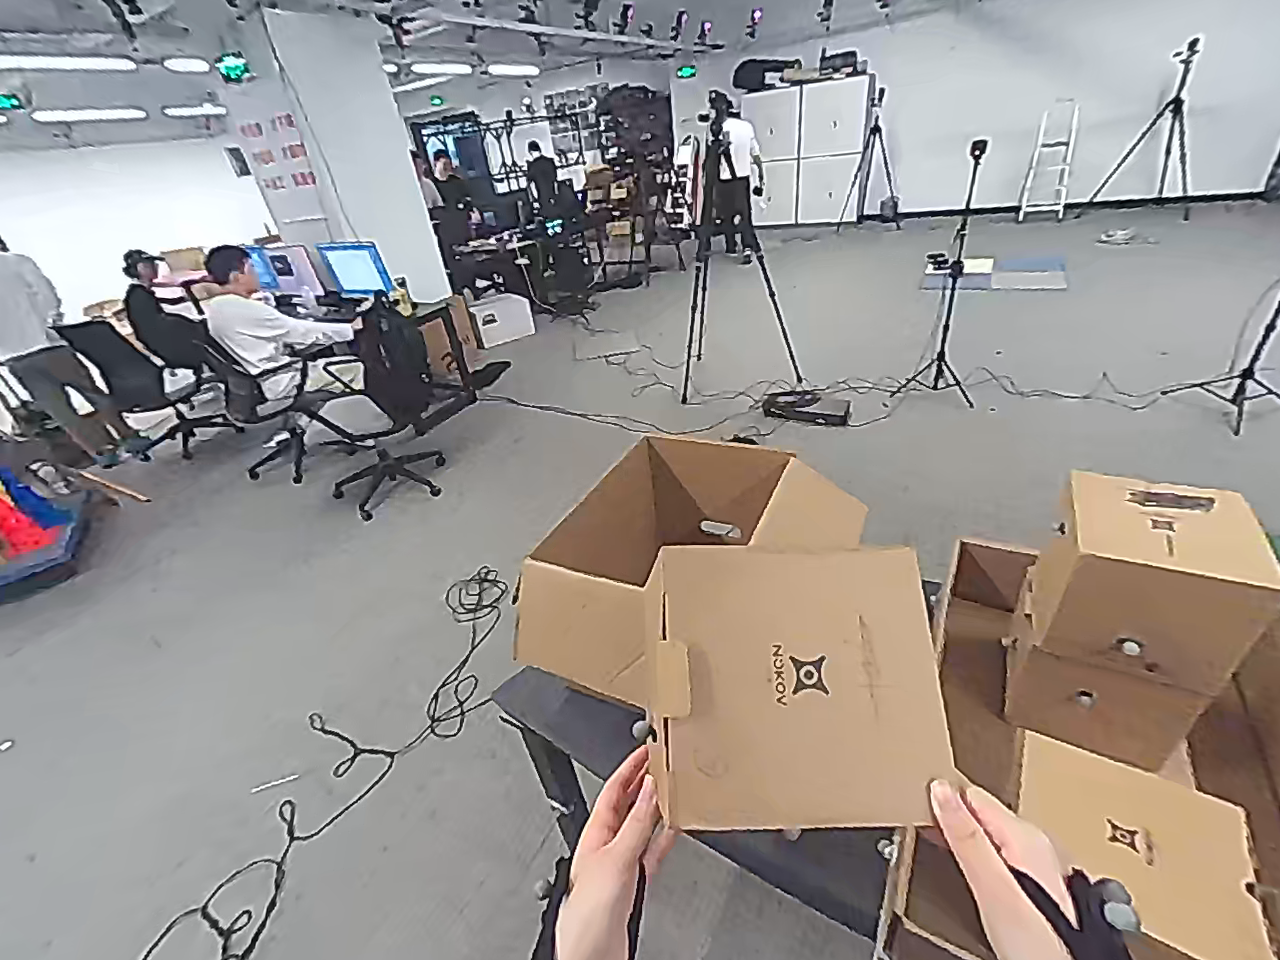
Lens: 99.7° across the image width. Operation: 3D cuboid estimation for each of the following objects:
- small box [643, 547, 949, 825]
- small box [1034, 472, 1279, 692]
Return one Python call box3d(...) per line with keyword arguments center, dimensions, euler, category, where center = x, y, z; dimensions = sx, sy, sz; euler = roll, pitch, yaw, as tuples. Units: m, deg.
box3d(center=(0.092, 0.149, 0.416), dimensions=(0.179, 0.176, 0.168), euler=(0, 72, -4), category="small box")
box3d(center=(0.602, 0.118, 0.662), dimensions=(0.168, 0.176, 0.179), euler=(12, 39, 29), category="small box")
